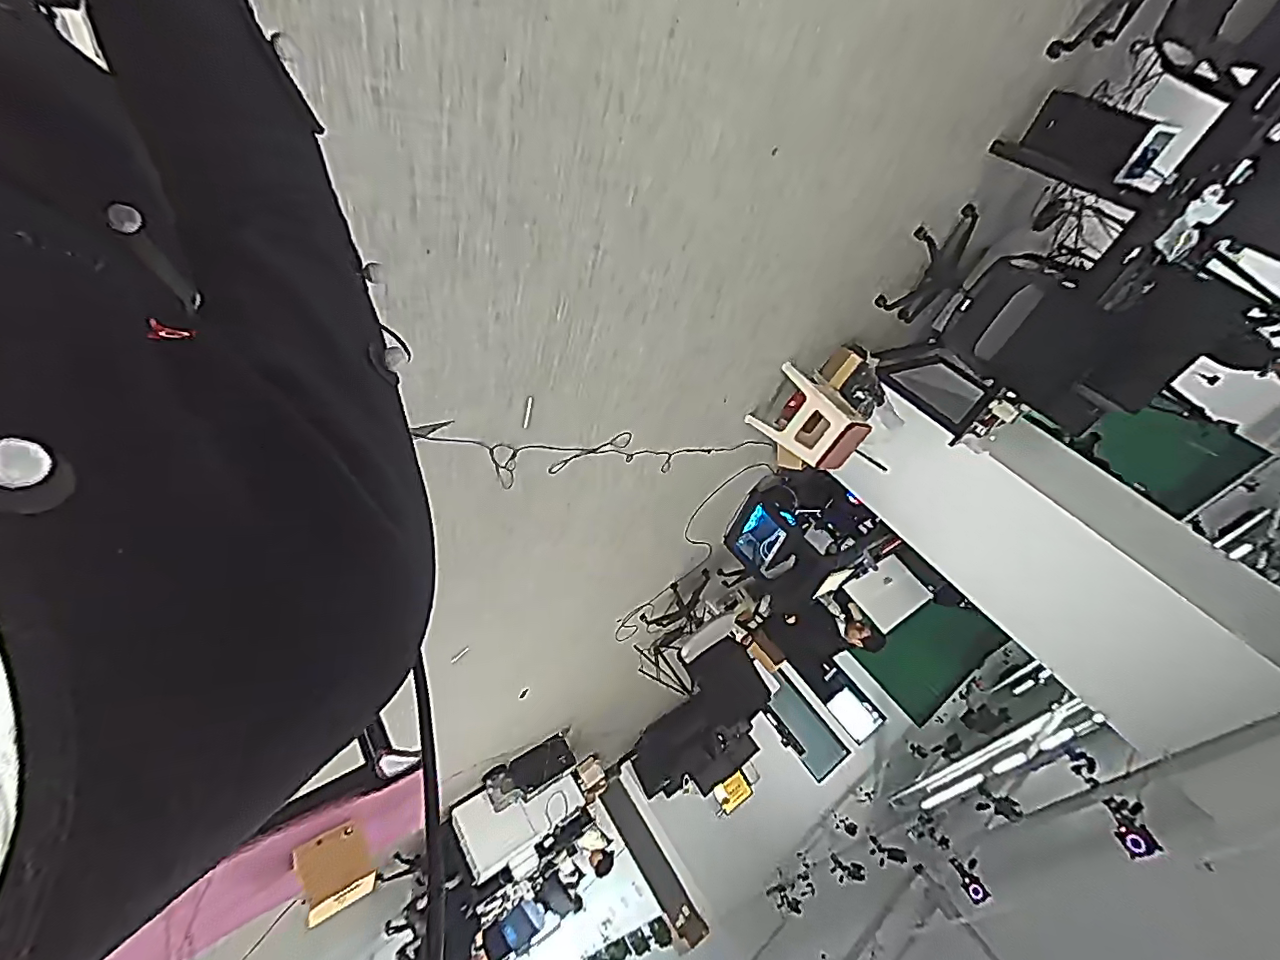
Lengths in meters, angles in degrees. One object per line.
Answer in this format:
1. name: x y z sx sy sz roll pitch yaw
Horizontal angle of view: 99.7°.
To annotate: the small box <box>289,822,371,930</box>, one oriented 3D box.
1. small box: -0.882 1.115 1.535 0.168 0.176 0.179 -11 139 -41
